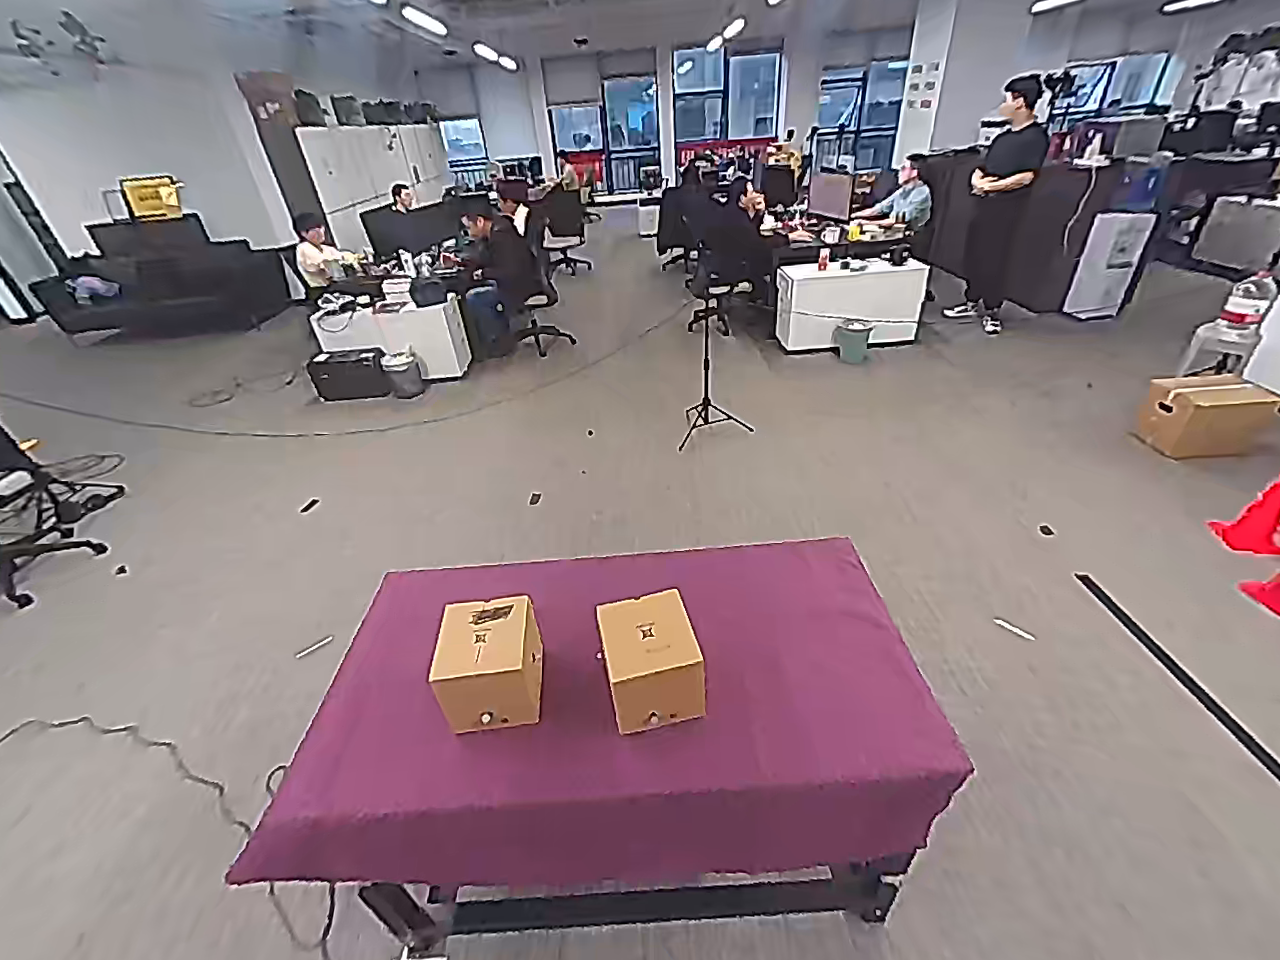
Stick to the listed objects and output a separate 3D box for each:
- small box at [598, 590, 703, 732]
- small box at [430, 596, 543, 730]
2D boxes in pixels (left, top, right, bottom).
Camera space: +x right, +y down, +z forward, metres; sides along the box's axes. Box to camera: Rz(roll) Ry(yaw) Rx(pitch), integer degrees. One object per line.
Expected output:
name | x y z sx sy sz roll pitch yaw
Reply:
small box | 0.018 0.344 1.036 0.168 0.176 0.179 -11 34 -7
small box | -0.288 0.355 1.057 0.168 0.176 0.179 -7 35 -2
